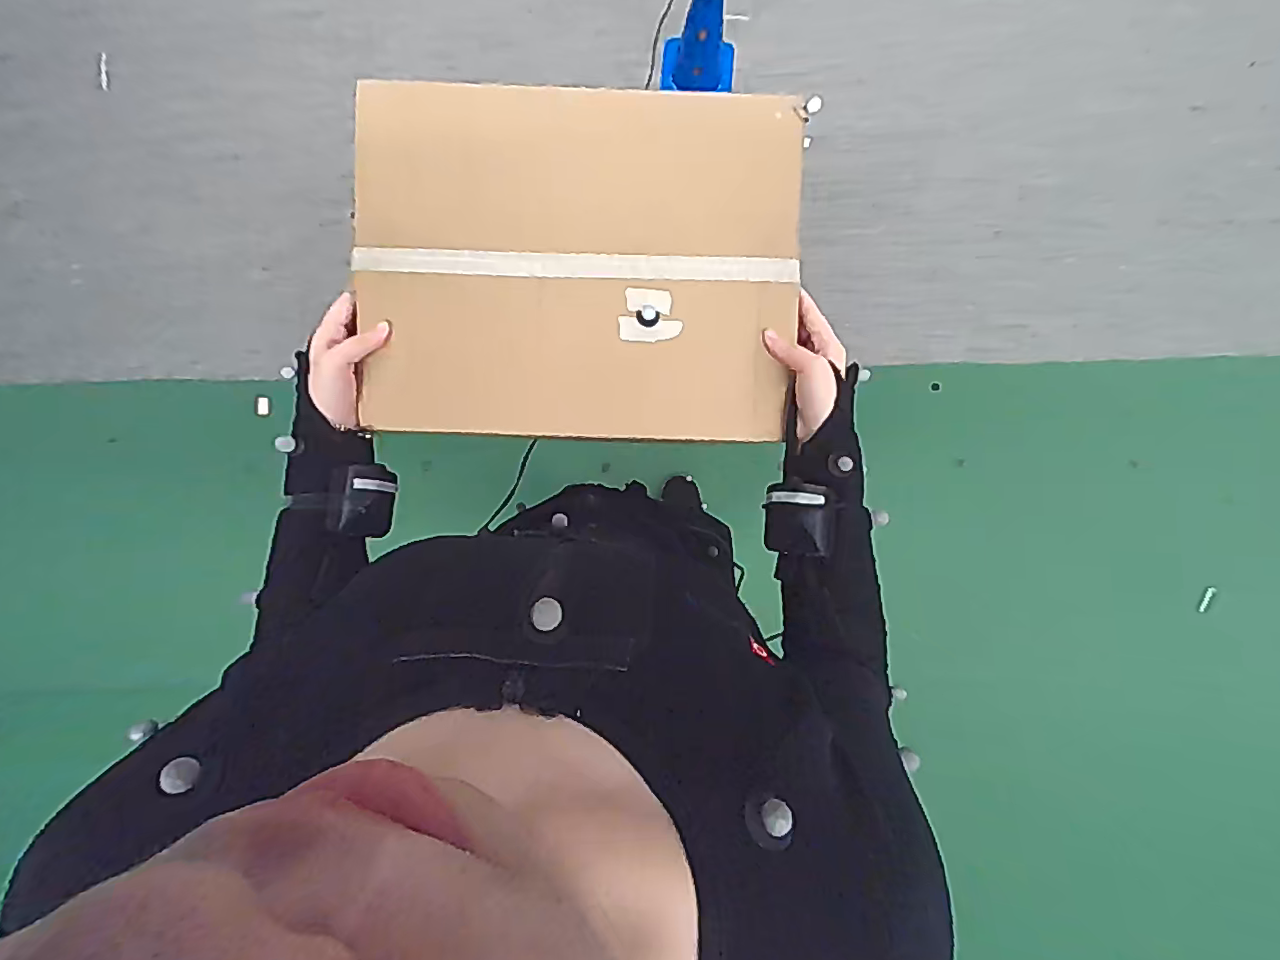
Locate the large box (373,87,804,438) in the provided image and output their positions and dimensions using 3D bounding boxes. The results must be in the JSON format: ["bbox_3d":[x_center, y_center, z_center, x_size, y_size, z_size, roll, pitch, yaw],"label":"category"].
[{"bbox_3d":[-0.054,-0.210,0.653,0.408,0.320,0.320,2,94,-2],"label":"large box"}]

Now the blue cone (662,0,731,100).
[{"bbox_3d":[0.161,-1.132,1.361,0.193,0.380,0.192,7,90,-1],"label":"blue cone"}]
